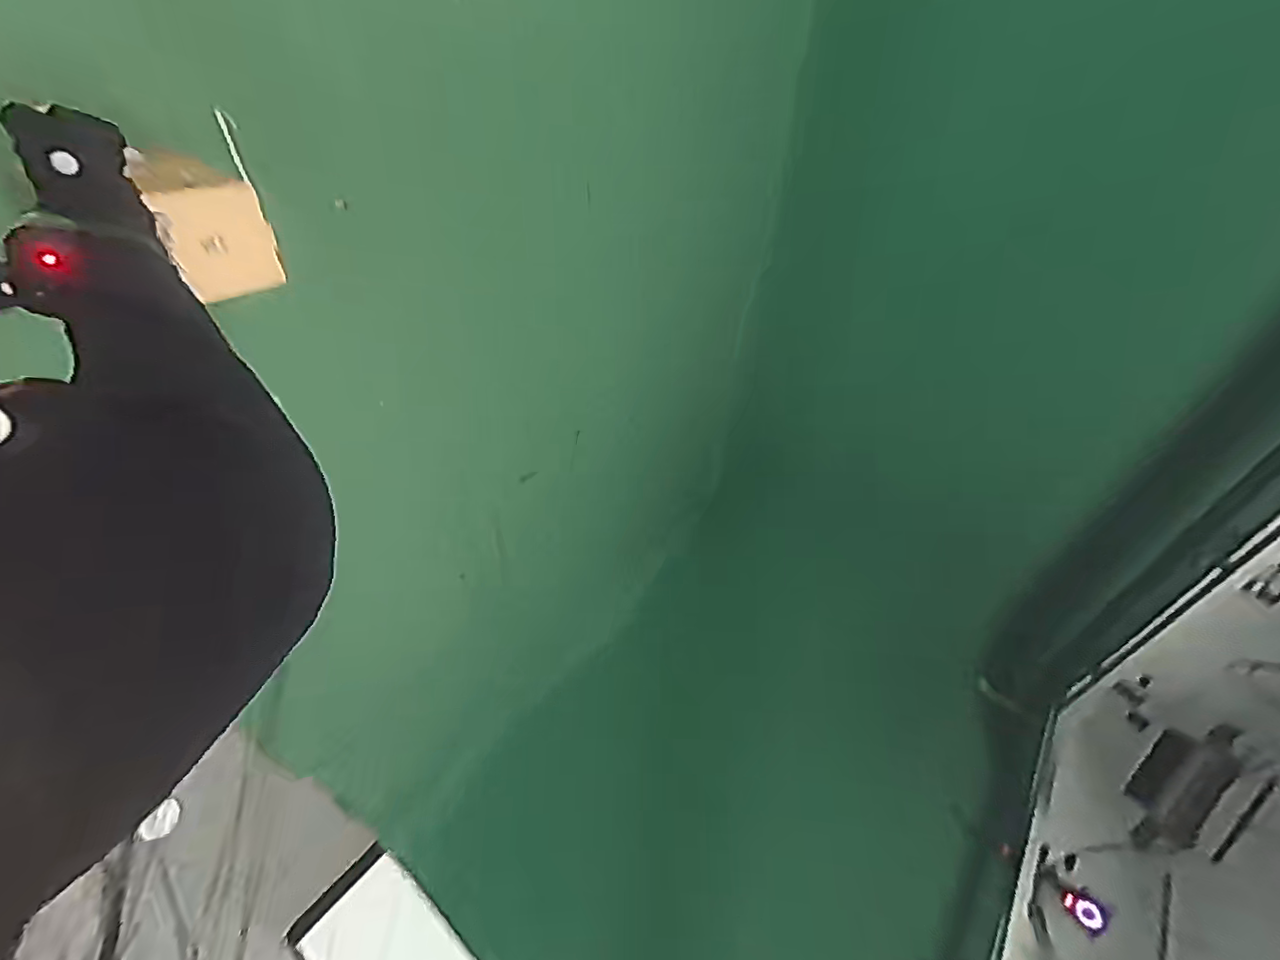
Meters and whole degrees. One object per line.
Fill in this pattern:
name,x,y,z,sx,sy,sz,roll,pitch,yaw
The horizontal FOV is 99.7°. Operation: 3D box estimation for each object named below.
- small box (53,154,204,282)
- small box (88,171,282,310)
small box,-0.894,-0.484,0.985,0.179,0.176,0.168,-36,144,-38
small box,-0.762,-0.413,0.917,0.179,0.176,0.168,-38,145,-40
